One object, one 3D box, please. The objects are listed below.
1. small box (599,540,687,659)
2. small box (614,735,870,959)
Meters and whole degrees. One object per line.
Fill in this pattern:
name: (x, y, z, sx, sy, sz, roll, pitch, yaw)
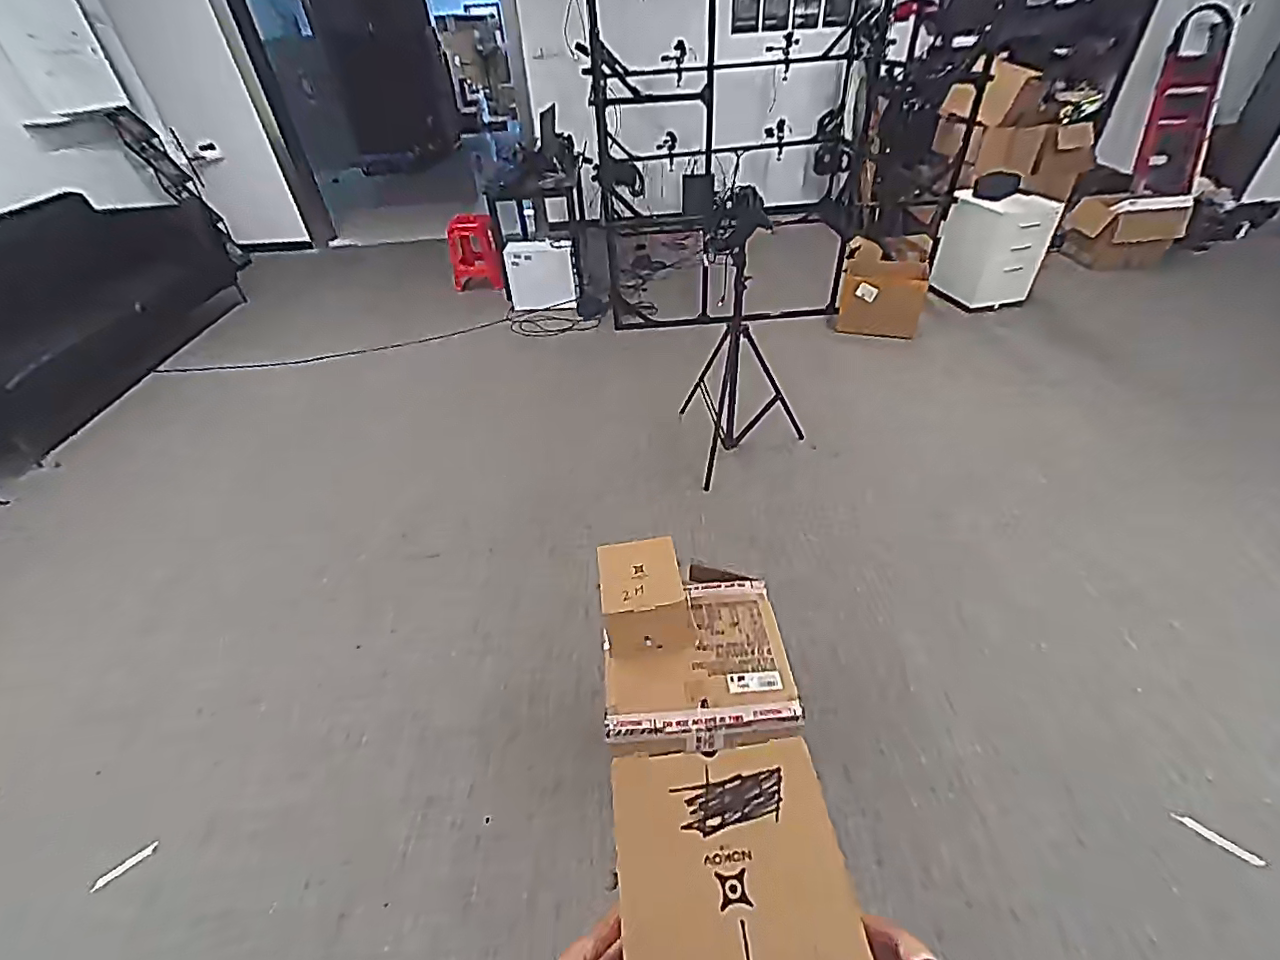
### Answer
small box: (0.006, 0.255, 1.158, 0.168, 0.176, 0.179, -9, 43, -2)
small box: (0.065, 0.339, 0.449, 0.168, 0.176, 0.179, -4, 45, -4)
